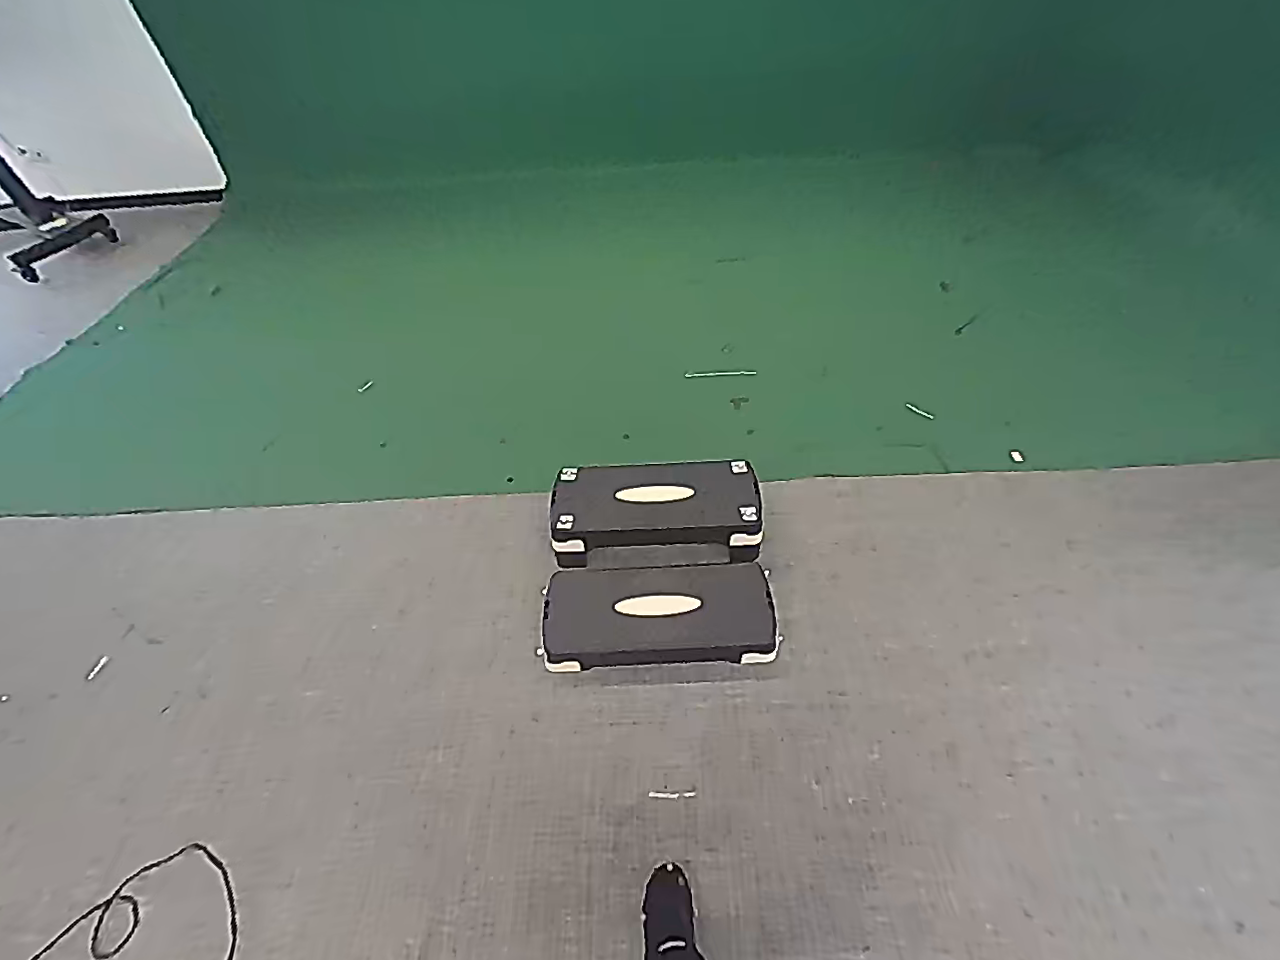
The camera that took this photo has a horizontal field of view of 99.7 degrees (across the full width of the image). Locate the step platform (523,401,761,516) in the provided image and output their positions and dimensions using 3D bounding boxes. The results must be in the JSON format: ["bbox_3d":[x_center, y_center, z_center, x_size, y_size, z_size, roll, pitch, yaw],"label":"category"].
[{"bbox_3d":[0.007,-0.064,1.638,0.684,0.204,0.286,-3,49,2],"label":"step platform"}]
